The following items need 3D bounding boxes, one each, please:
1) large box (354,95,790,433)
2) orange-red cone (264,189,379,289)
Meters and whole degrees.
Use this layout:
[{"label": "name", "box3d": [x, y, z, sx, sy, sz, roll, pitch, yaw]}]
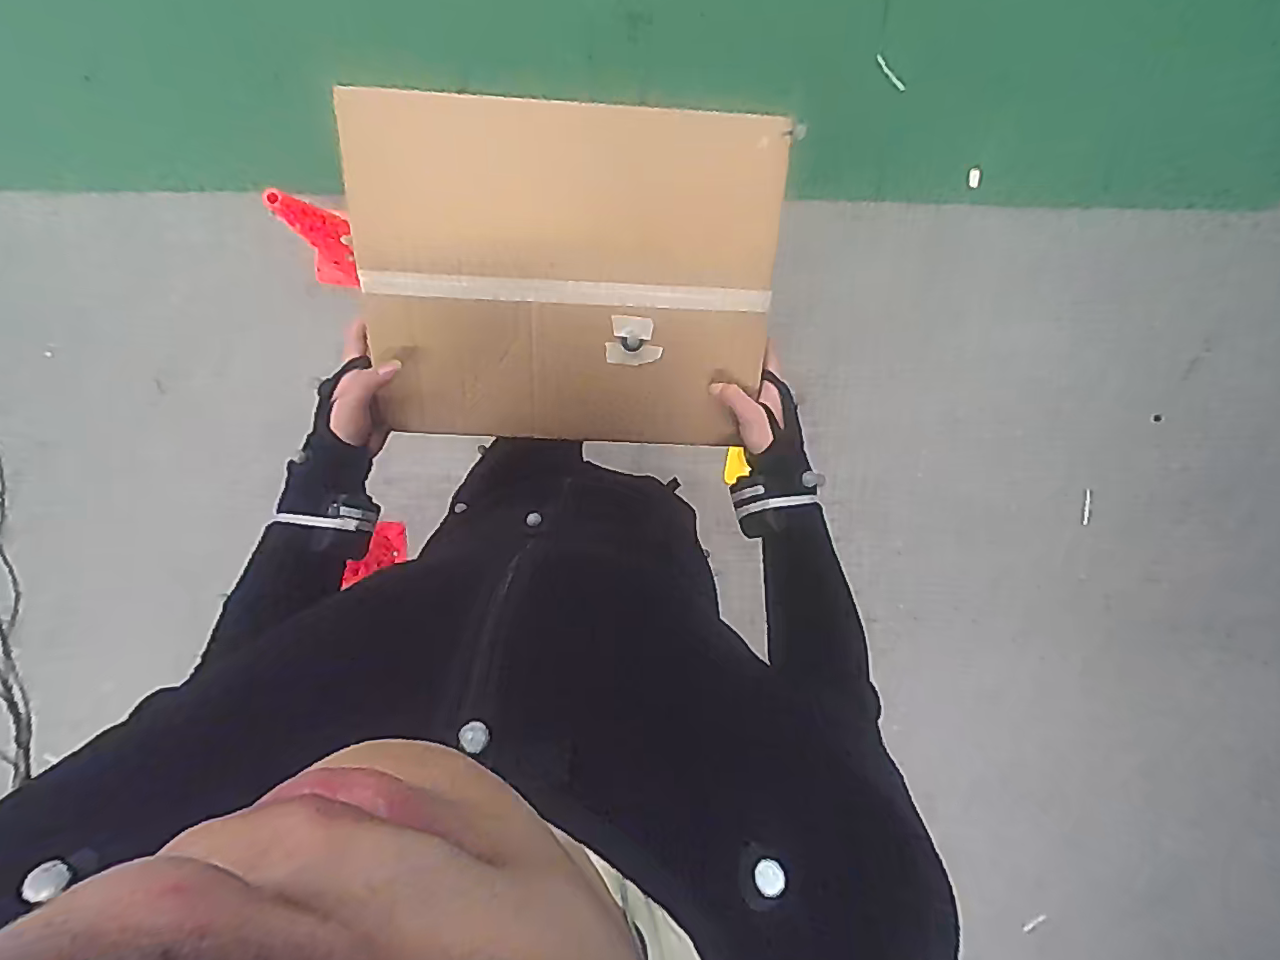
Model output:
[{"label": "large box", "box3d": [-0.071, -0.254, 0.684, 0.408, 0.320, 0.320, 2, 114, -3]}, {"label": "orange-red cone", "box3d": [-0.797, -0.623, 1.336, 0.199, 0.360, 0.198, 8, 95, -1]}]
